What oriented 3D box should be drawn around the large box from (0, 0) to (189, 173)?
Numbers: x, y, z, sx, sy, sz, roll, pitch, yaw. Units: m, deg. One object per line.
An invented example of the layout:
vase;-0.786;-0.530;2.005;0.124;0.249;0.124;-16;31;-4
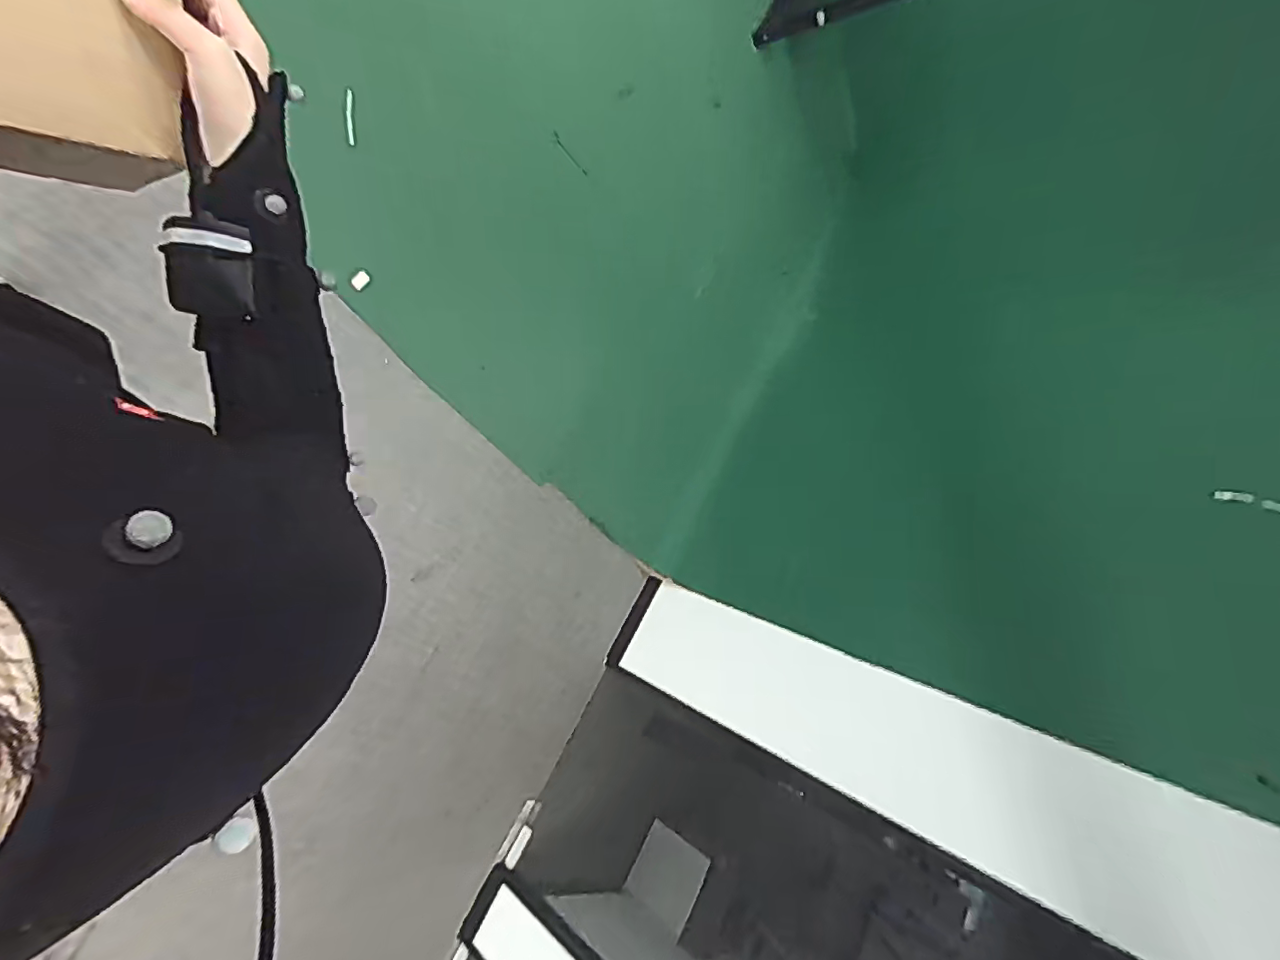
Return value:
large box;-0.546;-0.386;0.280;0.408;0.320;0.320;-14;117;-47
